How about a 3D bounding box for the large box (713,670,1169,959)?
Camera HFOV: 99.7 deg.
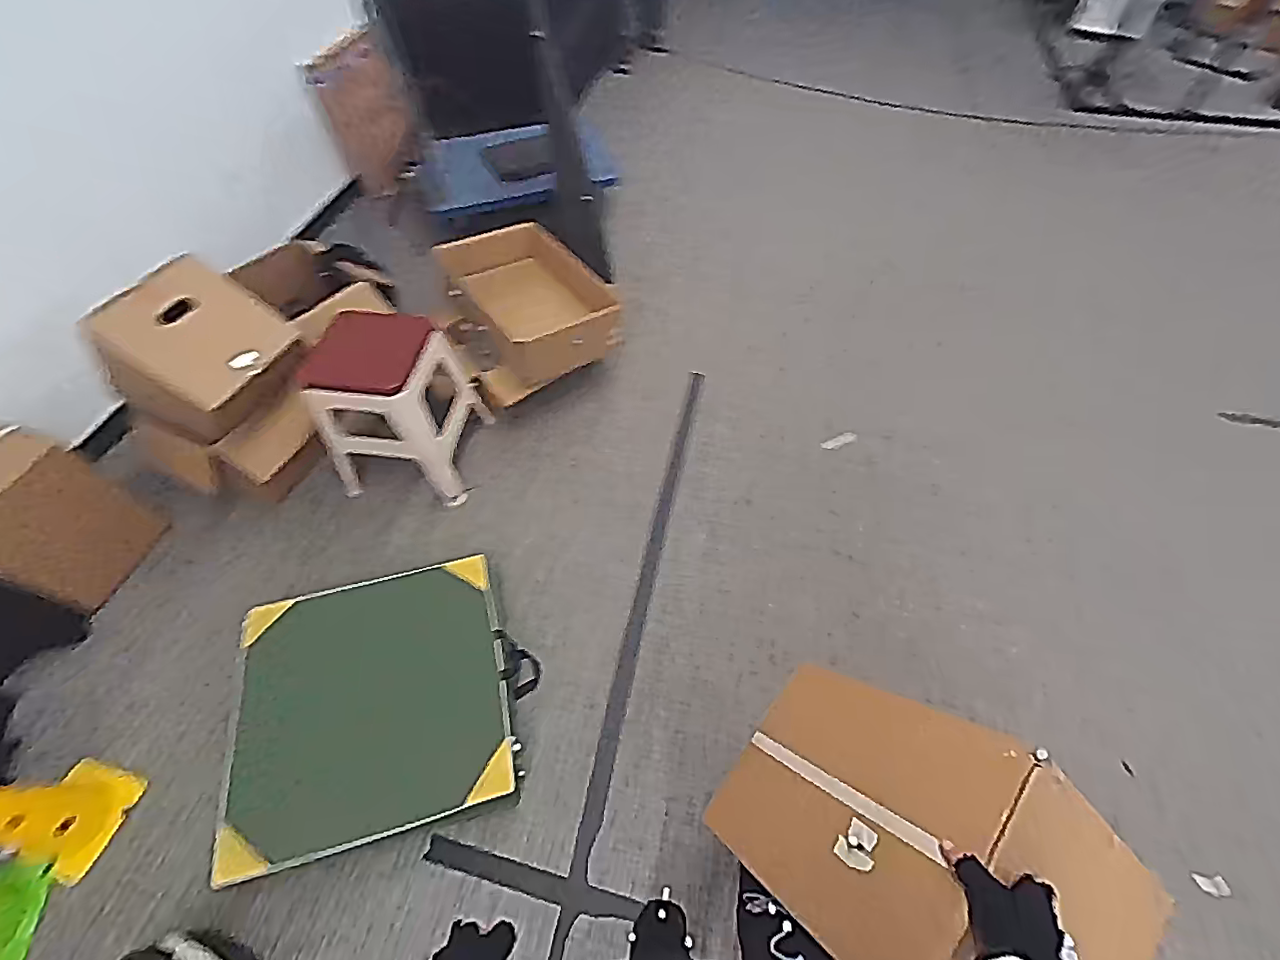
[{"bbox_3d":[0.386,0.536,0.768,0.320,0.408,0.320,46,72,-14],"label":"large box"}]
